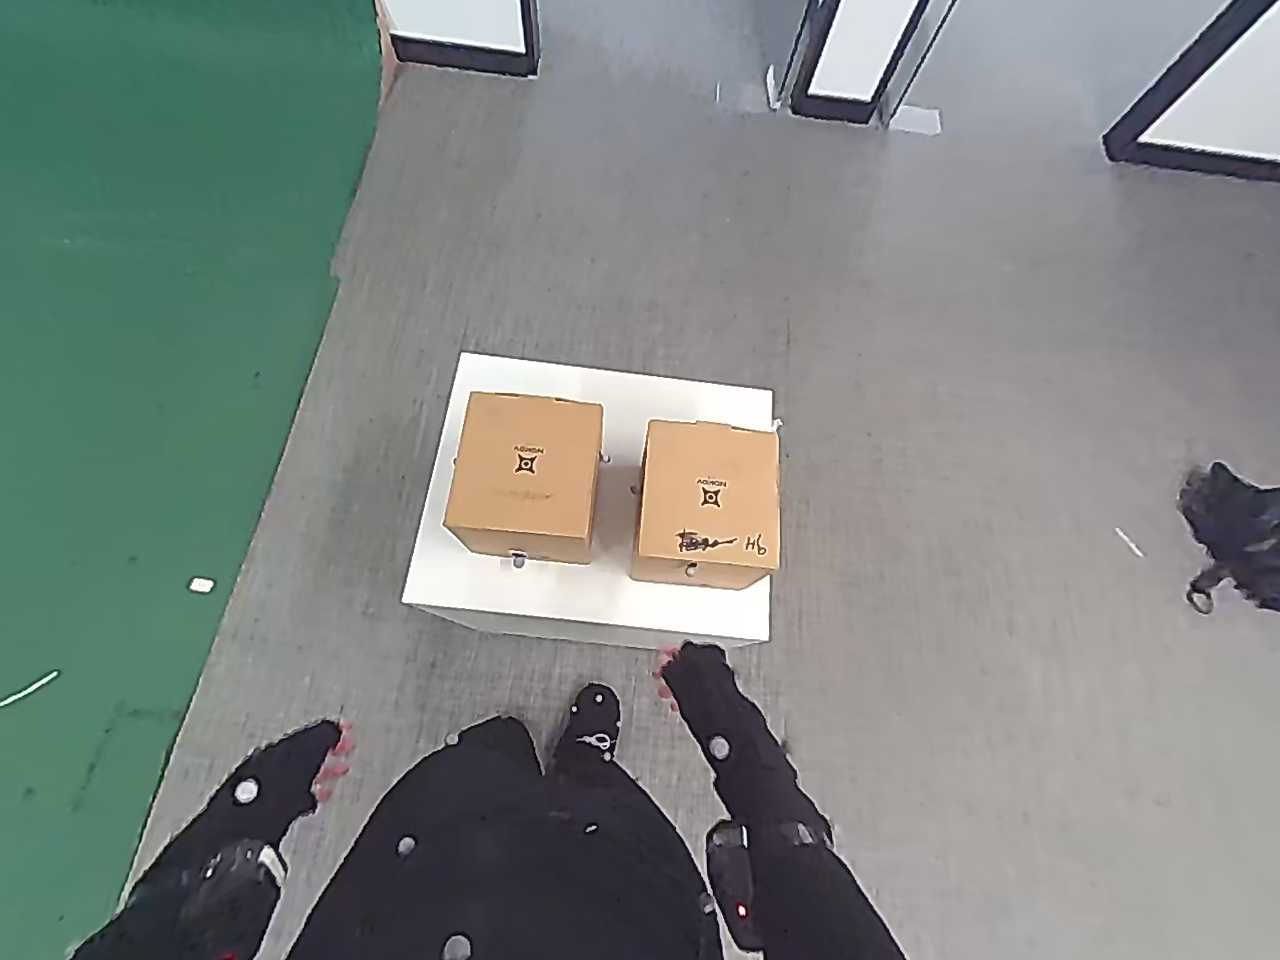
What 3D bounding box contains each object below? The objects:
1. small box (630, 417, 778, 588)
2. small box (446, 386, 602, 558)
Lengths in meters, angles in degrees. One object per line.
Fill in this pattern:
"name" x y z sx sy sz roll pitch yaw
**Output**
"small box" 0.078 0.038 0.723 0.168 0.176 0.179 6 69 -2
"small box" -0.138 -0.002 0.708 0.168 0.176 0.179 3 72 -3
